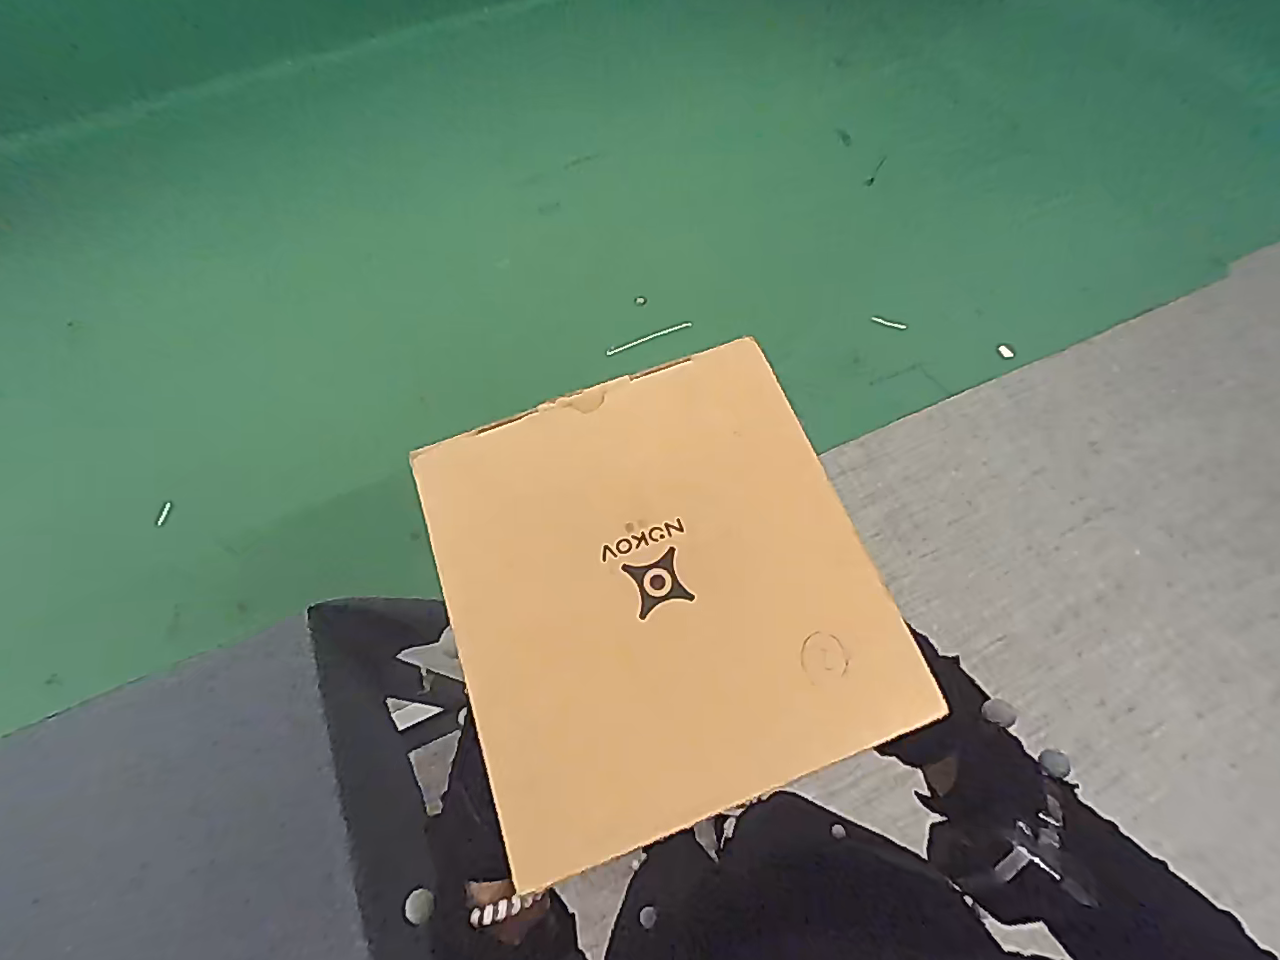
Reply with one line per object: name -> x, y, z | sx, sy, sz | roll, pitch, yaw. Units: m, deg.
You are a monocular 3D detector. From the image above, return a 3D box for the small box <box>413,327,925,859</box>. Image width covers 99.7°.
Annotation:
small box -> 0.006, 0.056, 0.296 | 0.168, 0.176, 0.179 | -20, 70, -5
